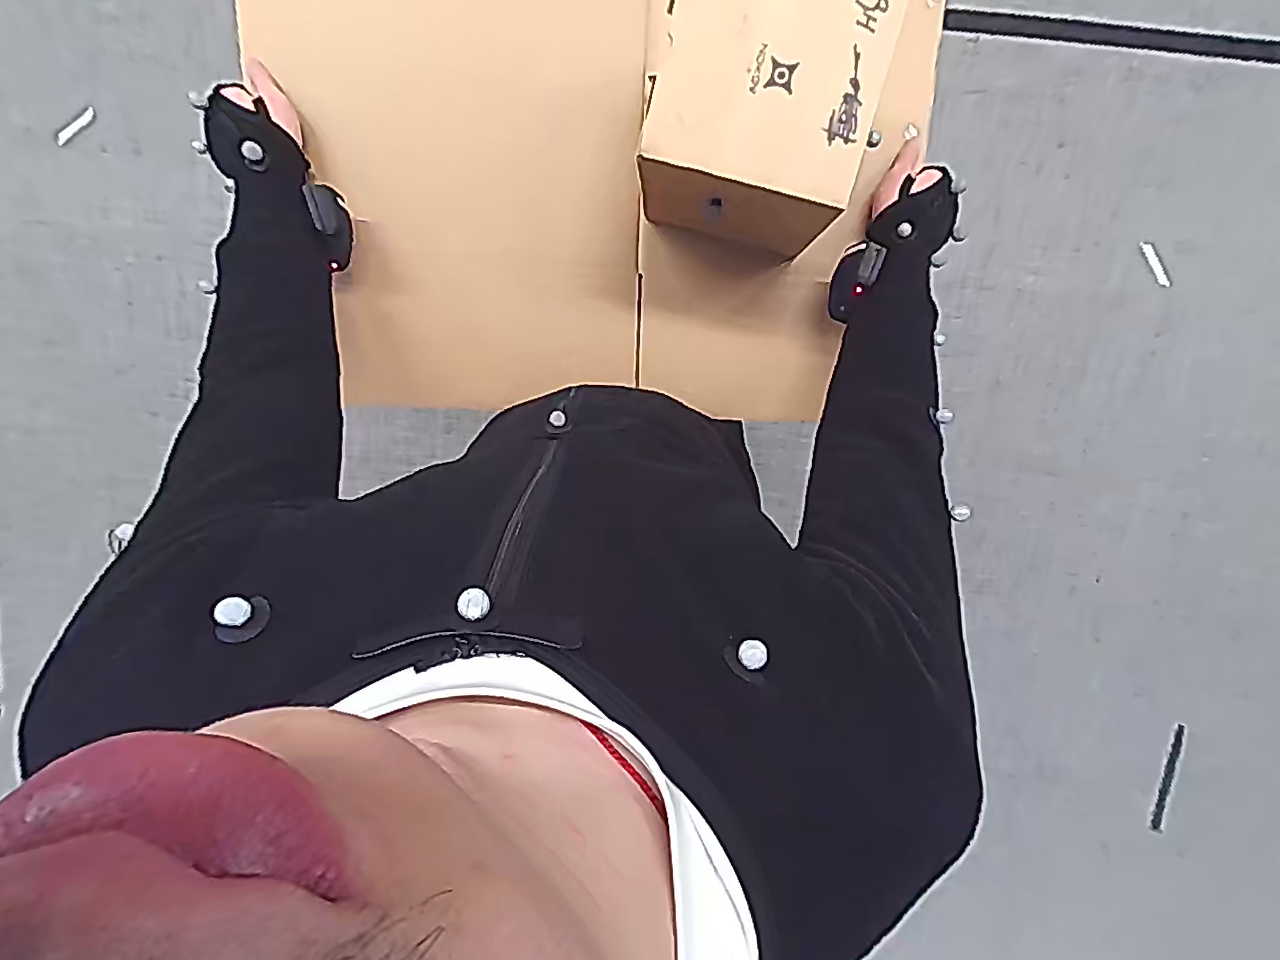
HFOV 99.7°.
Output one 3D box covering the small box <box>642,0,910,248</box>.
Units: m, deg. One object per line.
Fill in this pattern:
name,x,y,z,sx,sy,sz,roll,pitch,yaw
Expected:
small box,0.110,-0.334,0.503,0.179,0.176,0.168,15,101,1
